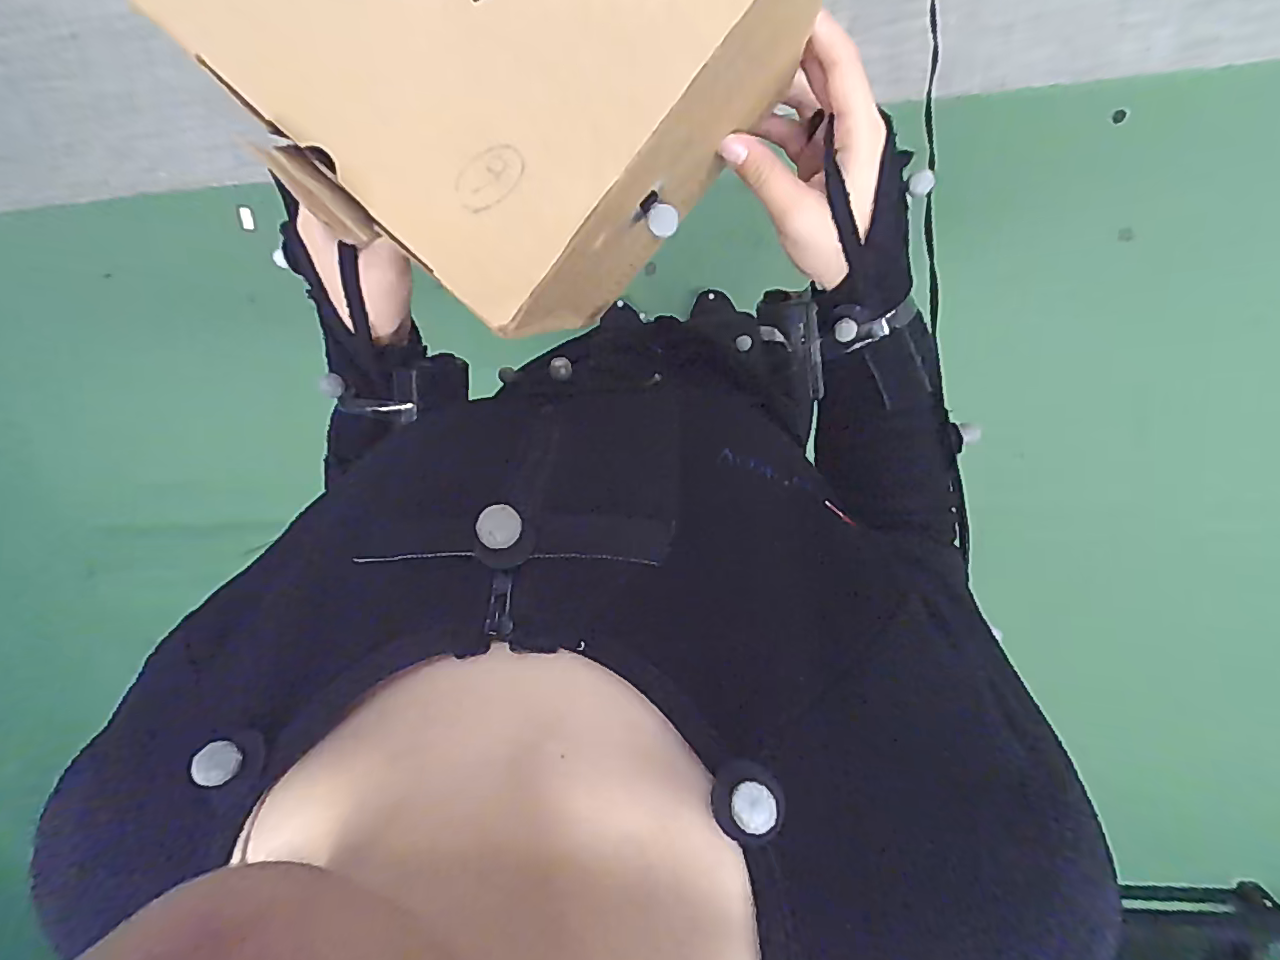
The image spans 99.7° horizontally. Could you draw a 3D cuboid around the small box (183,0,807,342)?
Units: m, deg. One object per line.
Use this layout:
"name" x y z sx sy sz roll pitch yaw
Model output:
"small box" -0.040 -0.187 0.253 0.168 0.176 0.179 42 107 -6
